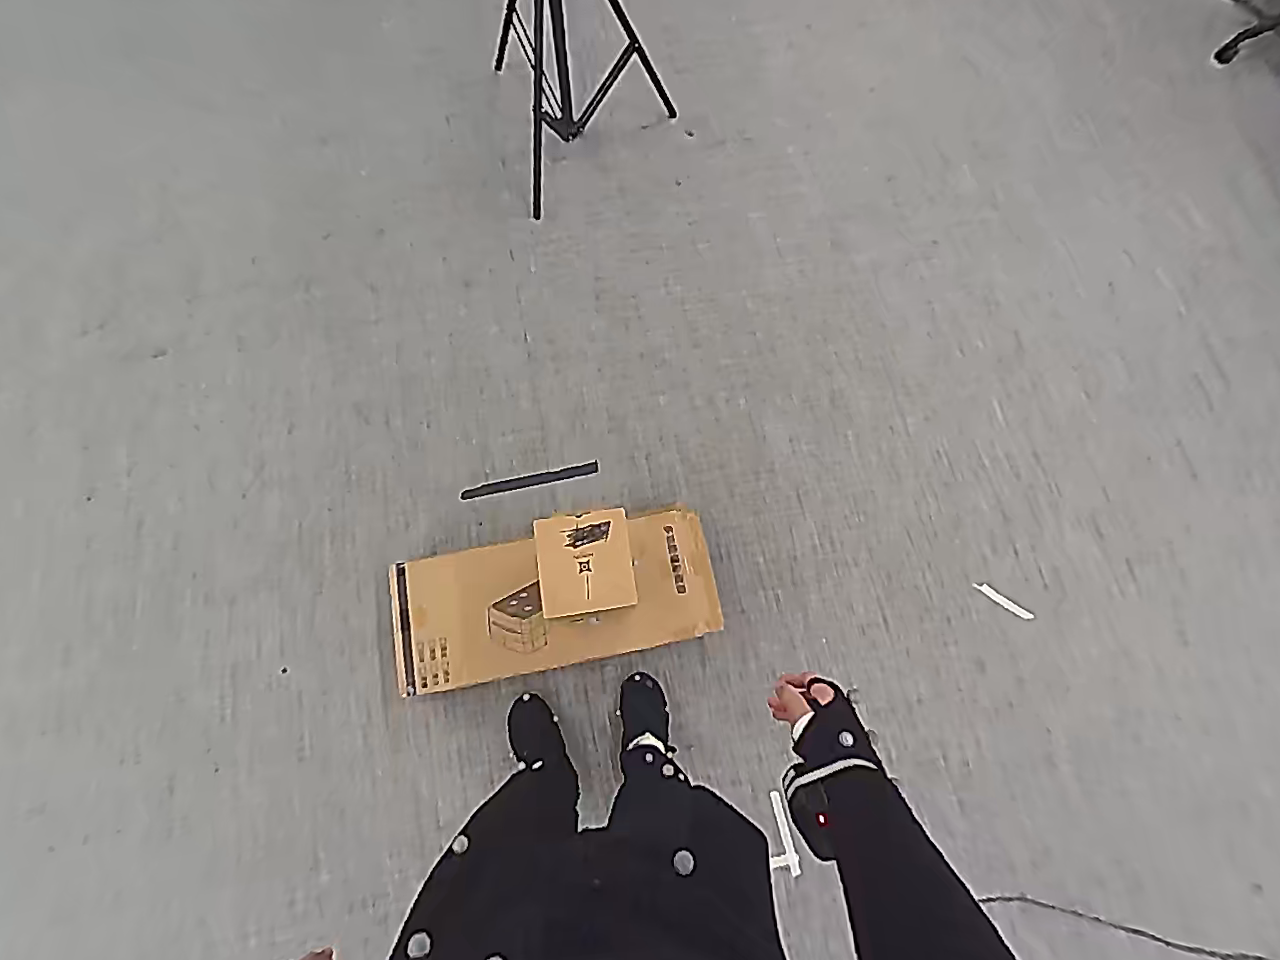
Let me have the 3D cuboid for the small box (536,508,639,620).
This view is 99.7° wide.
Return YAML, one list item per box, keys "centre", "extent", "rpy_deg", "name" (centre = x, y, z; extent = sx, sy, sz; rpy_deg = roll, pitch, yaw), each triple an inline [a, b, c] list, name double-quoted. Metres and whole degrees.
- centre: [-0.097, 0.165, 1.026]
  extent: [0.168, 0.176, 0.179]
  rpy_deg: [-8, 75, -4]
  name: "small box"
